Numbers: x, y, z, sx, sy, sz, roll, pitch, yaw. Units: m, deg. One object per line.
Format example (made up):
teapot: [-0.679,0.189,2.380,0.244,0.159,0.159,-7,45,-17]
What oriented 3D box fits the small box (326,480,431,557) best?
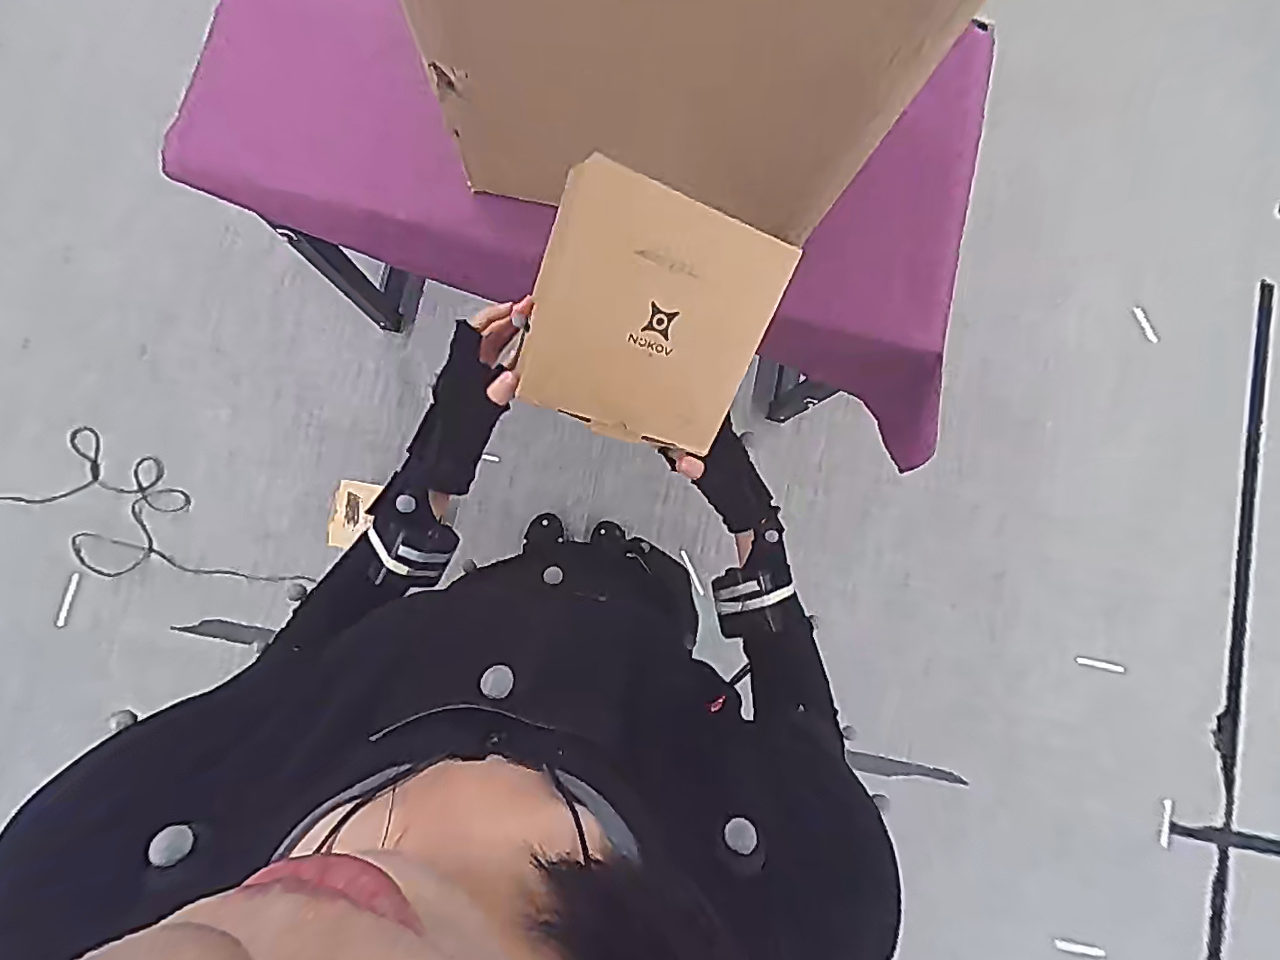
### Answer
small box: [-0.663,0.100,1.390,0.179,0.176,0.168,10,84,-5]

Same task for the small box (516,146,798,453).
small box: [-0.003,-0.150,0.465,0.168,0.176,0.179,14,111,-20]
